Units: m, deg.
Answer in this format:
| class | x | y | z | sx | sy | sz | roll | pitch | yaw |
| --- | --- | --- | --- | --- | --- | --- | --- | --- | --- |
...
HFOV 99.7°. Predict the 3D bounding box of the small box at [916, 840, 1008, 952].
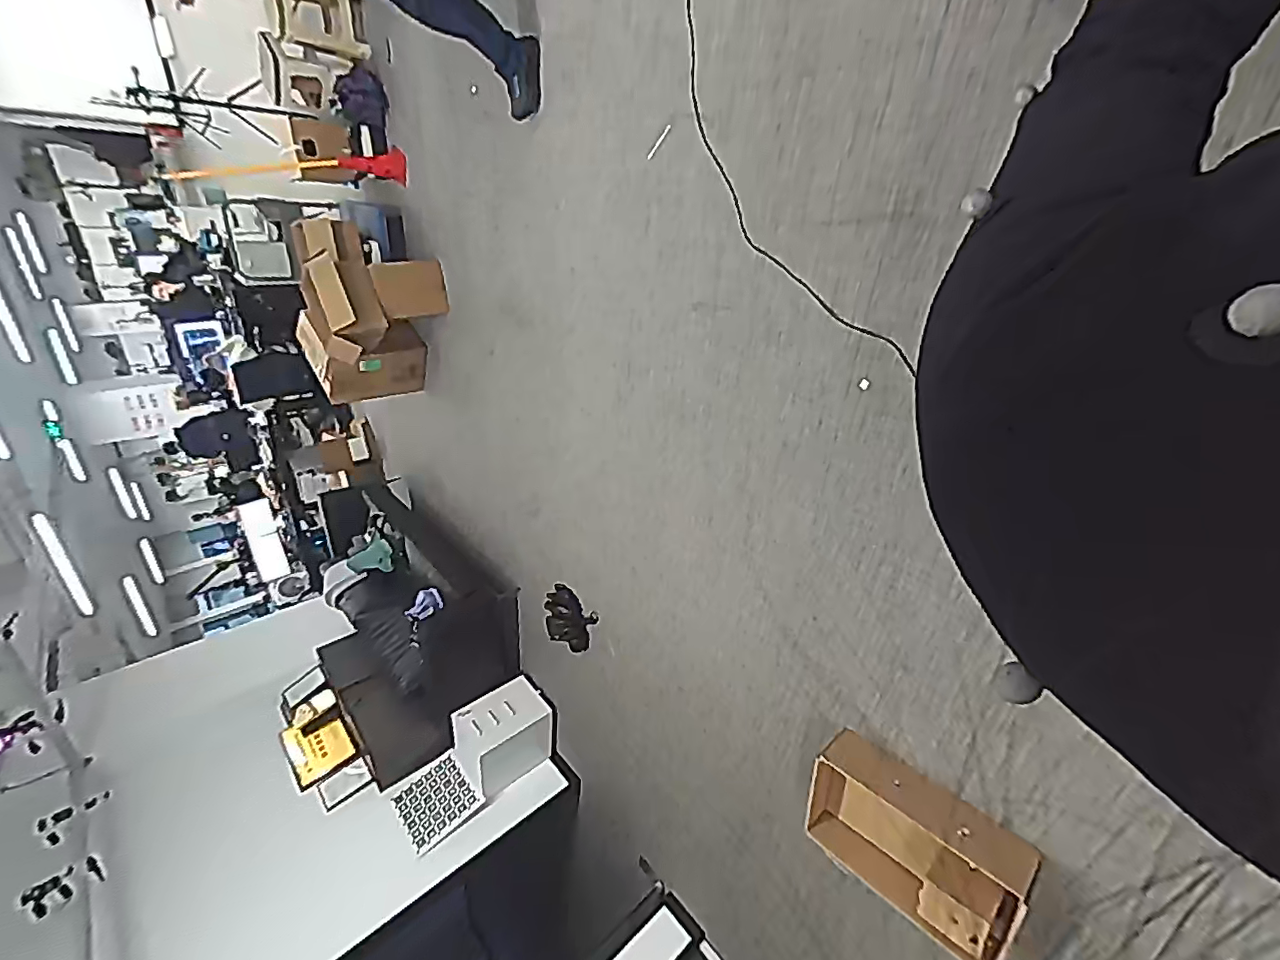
| class | x | y | z | sx | sy | sz | roll | pitch | yaw |
| --- | --- | --- | --- | --- | --- | --- | --- | --- | --- |
| small box | 0.960 | 1.225 | 1.613 | 0.179 | 0.176 | 0.168 | 21 | 122 | 45 |
